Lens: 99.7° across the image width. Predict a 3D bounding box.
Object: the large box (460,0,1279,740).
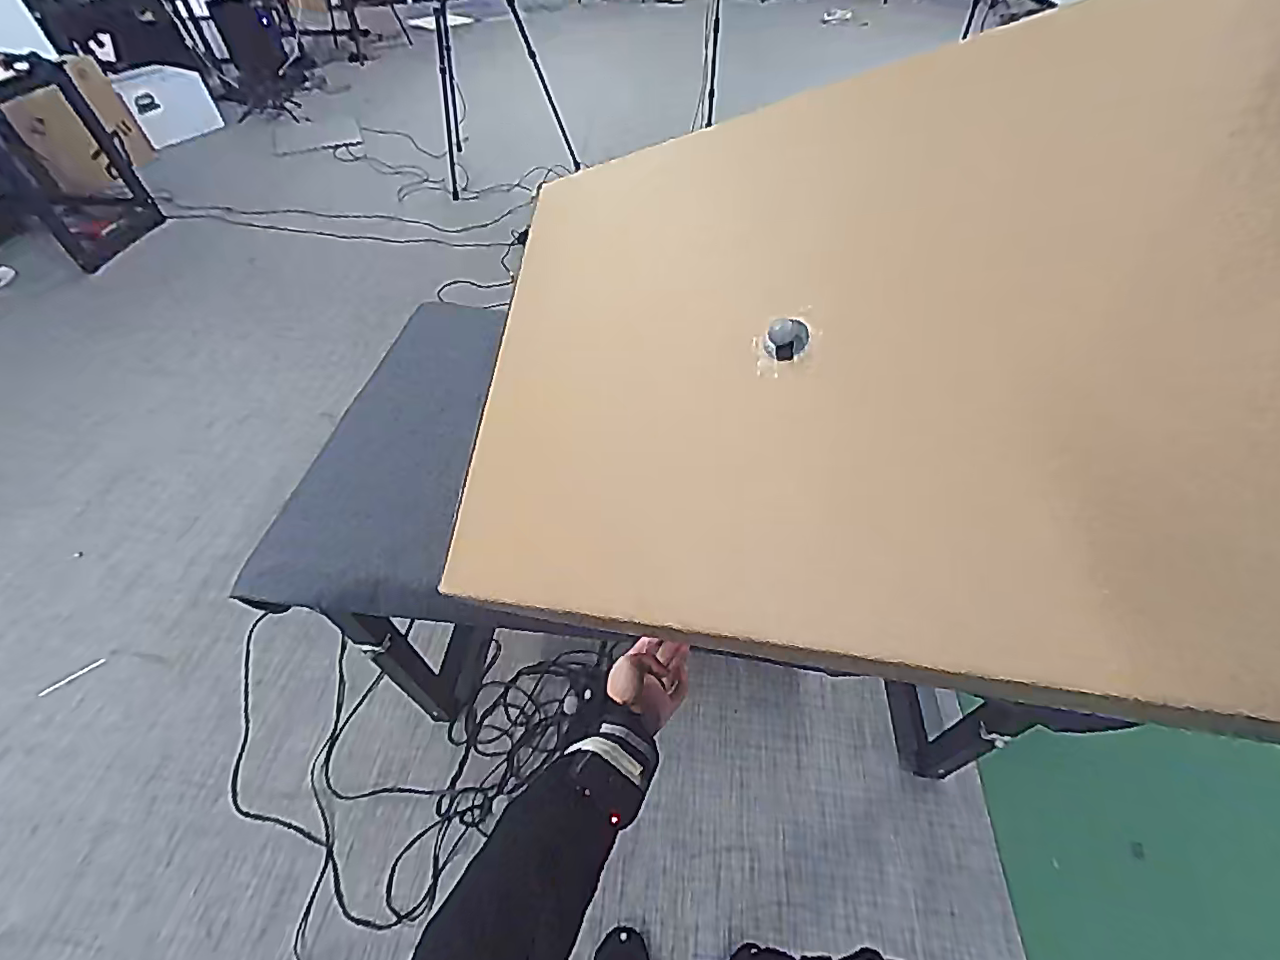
[{"bbox_3d":[0.146,-0.022,0.401,0.408,0.320,0.320,-1,71,28],"label":"large box"}]
